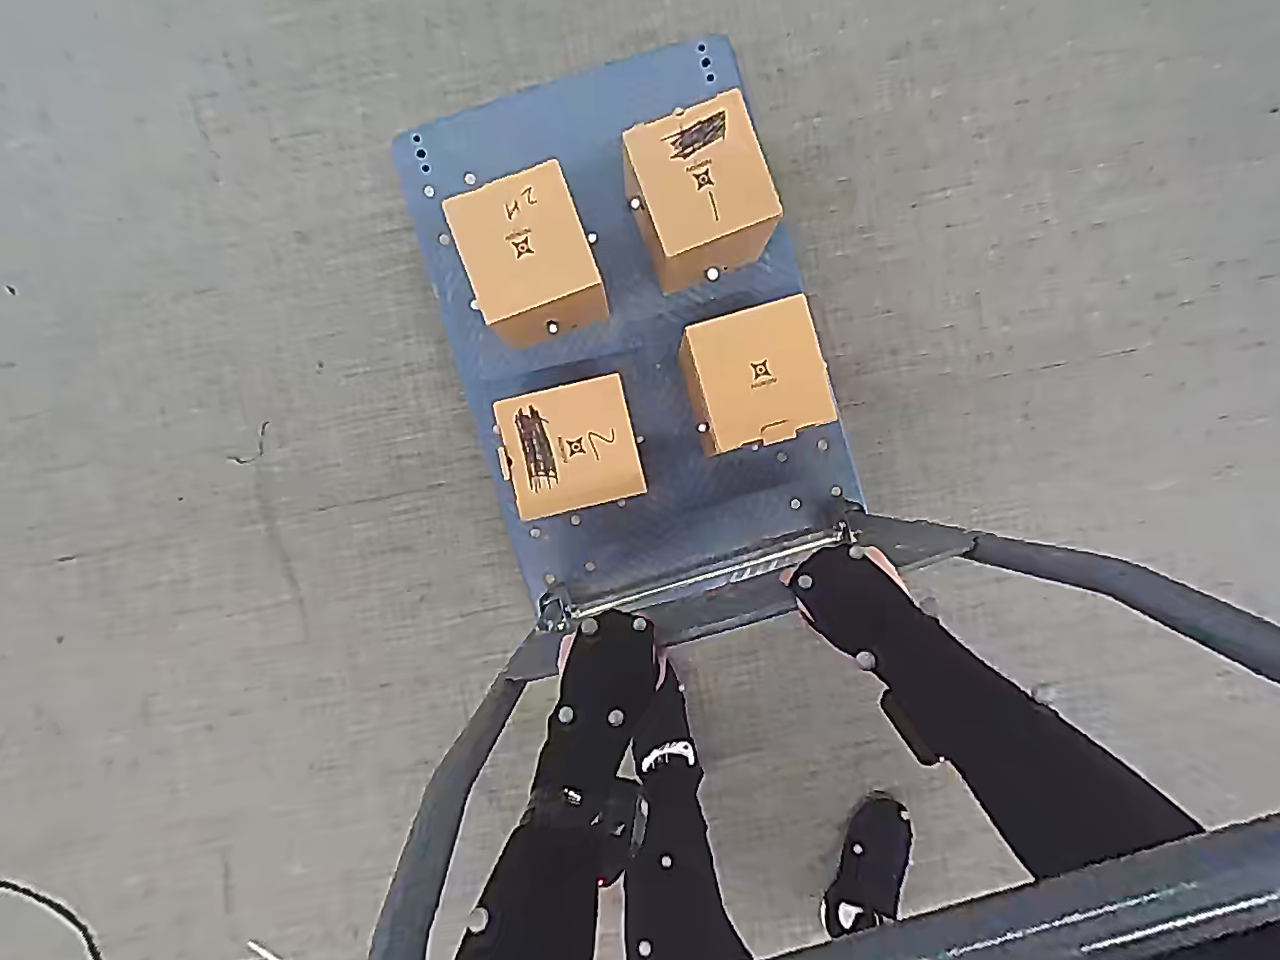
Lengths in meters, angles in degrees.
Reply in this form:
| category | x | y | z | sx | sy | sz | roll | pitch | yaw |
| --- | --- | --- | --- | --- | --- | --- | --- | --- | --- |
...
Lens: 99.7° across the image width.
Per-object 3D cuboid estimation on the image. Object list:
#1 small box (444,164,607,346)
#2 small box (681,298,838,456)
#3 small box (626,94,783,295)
| category | x | y | z | sx | sy | sz | roll | pitch | yaw |
| --- | --- | --- | --- | --- | --- | --- | --- | --- | --- |
| small box | -0.153 | -0.309 | 0.790 | 0.168 | 0.176 | 0.179 | -20 | 91 | 0 |
| small box | 0.162 | -0.139 | 0.793 | 0.168 | 0.176 | 0.179 | -16 | 92 | 1 |
| small box | 0.084 | -0.398 | 0.785 | 0.168 | 0.176 | 0.179 | -20 | 92 | 2 |
